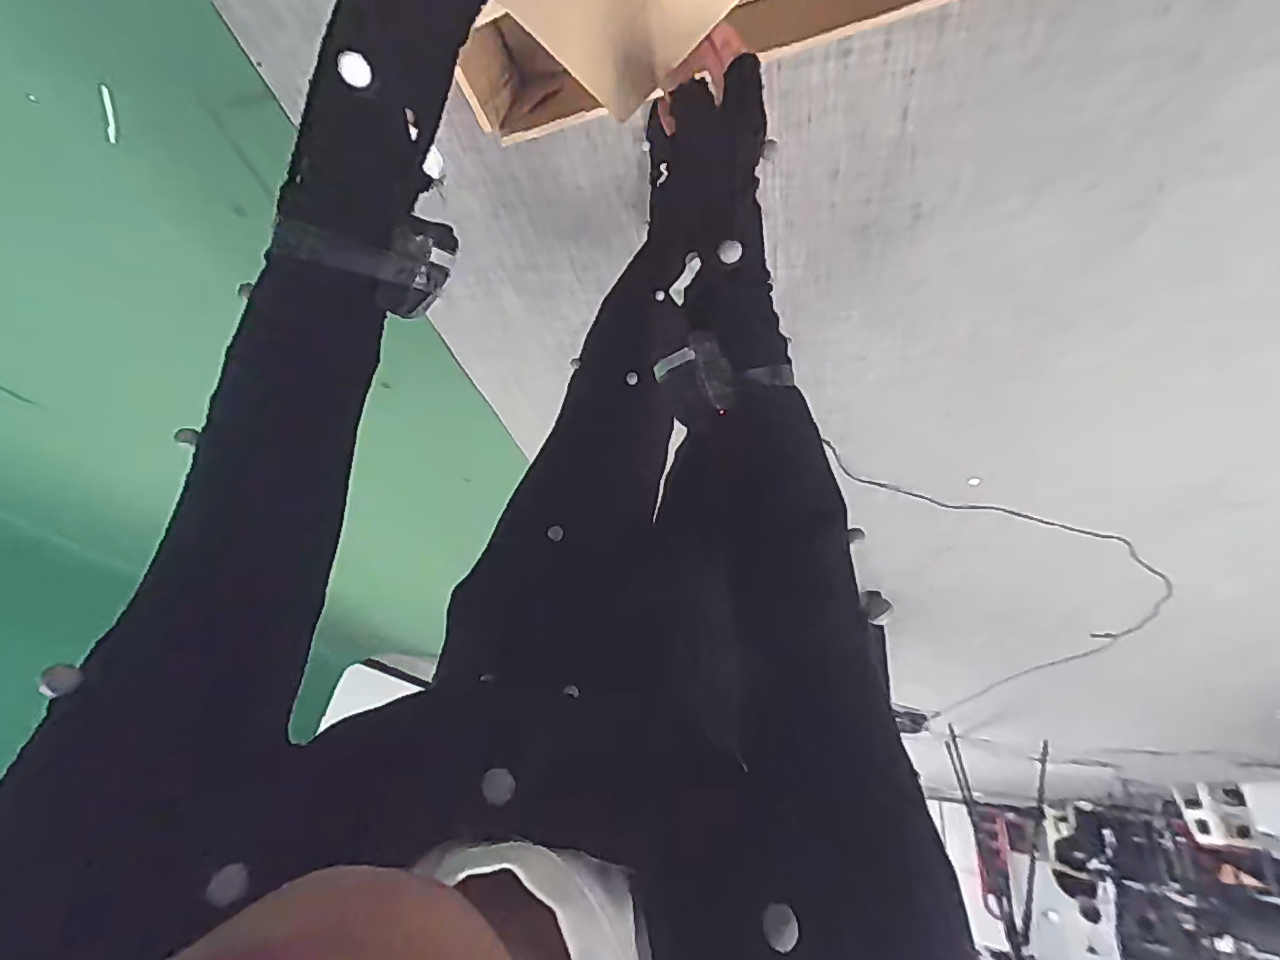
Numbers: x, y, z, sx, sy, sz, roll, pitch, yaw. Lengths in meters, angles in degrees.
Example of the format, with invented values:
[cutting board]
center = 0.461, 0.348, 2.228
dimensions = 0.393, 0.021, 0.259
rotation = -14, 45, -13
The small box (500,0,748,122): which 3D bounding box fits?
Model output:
[small box]
center = -0.014, -0.410, 0.366
dimensions = 0.179, 0.176, 0.168
rotation = 21, 148, -39
